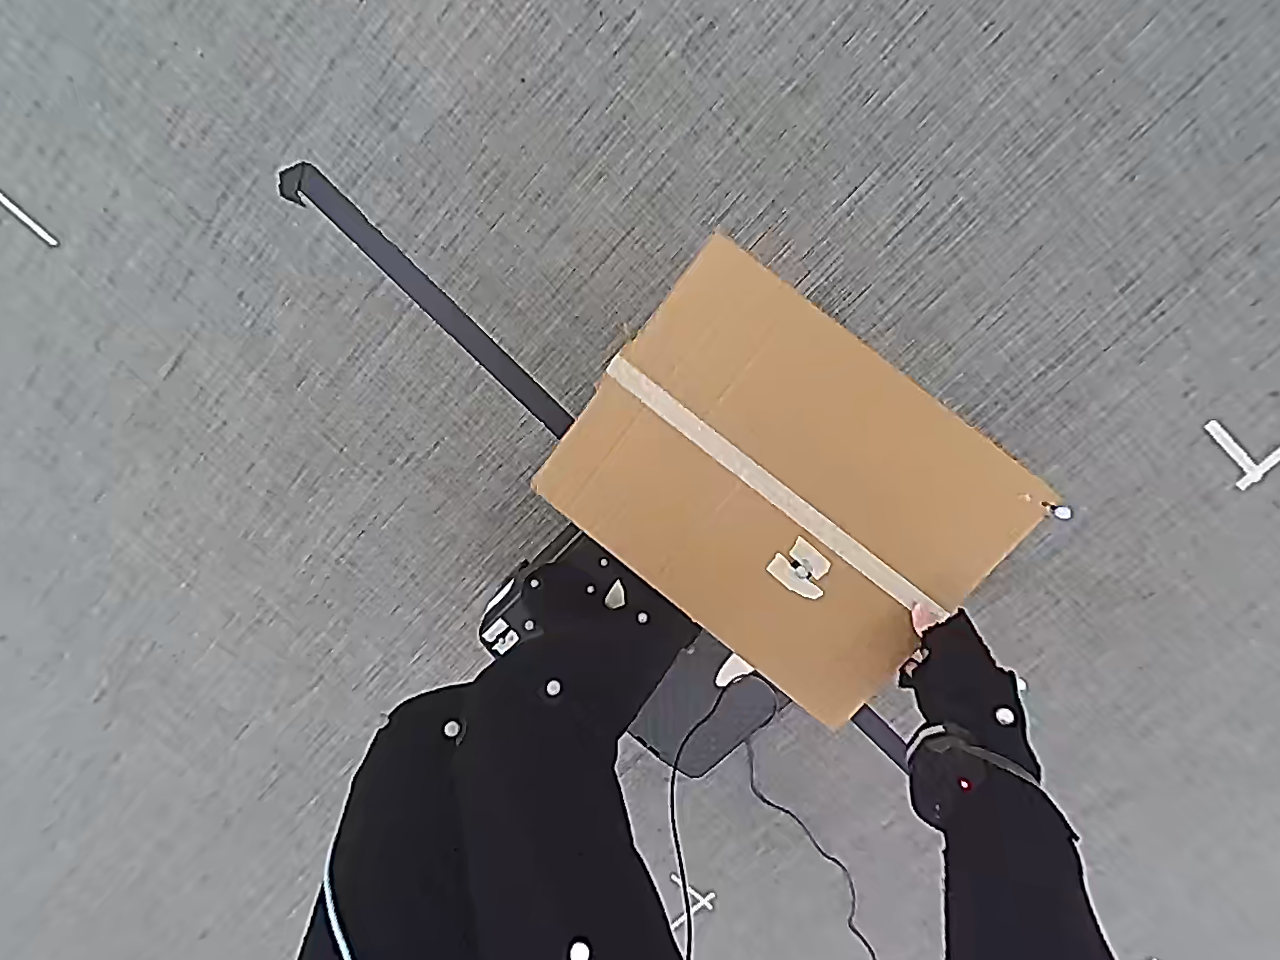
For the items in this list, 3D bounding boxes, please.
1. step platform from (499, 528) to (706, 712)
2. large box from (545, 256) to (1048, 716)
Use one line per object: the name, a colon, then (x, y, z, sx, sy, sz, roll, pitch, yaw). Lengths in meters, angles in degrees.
step platform: (0.054, 0.100, 0.992, 0.286, 0.204, 0.684, 42, 101, -8)
large box: (0.160, -0.006, 0.689, 0.408, 0.320, 0.320, 37, 103, 1)
